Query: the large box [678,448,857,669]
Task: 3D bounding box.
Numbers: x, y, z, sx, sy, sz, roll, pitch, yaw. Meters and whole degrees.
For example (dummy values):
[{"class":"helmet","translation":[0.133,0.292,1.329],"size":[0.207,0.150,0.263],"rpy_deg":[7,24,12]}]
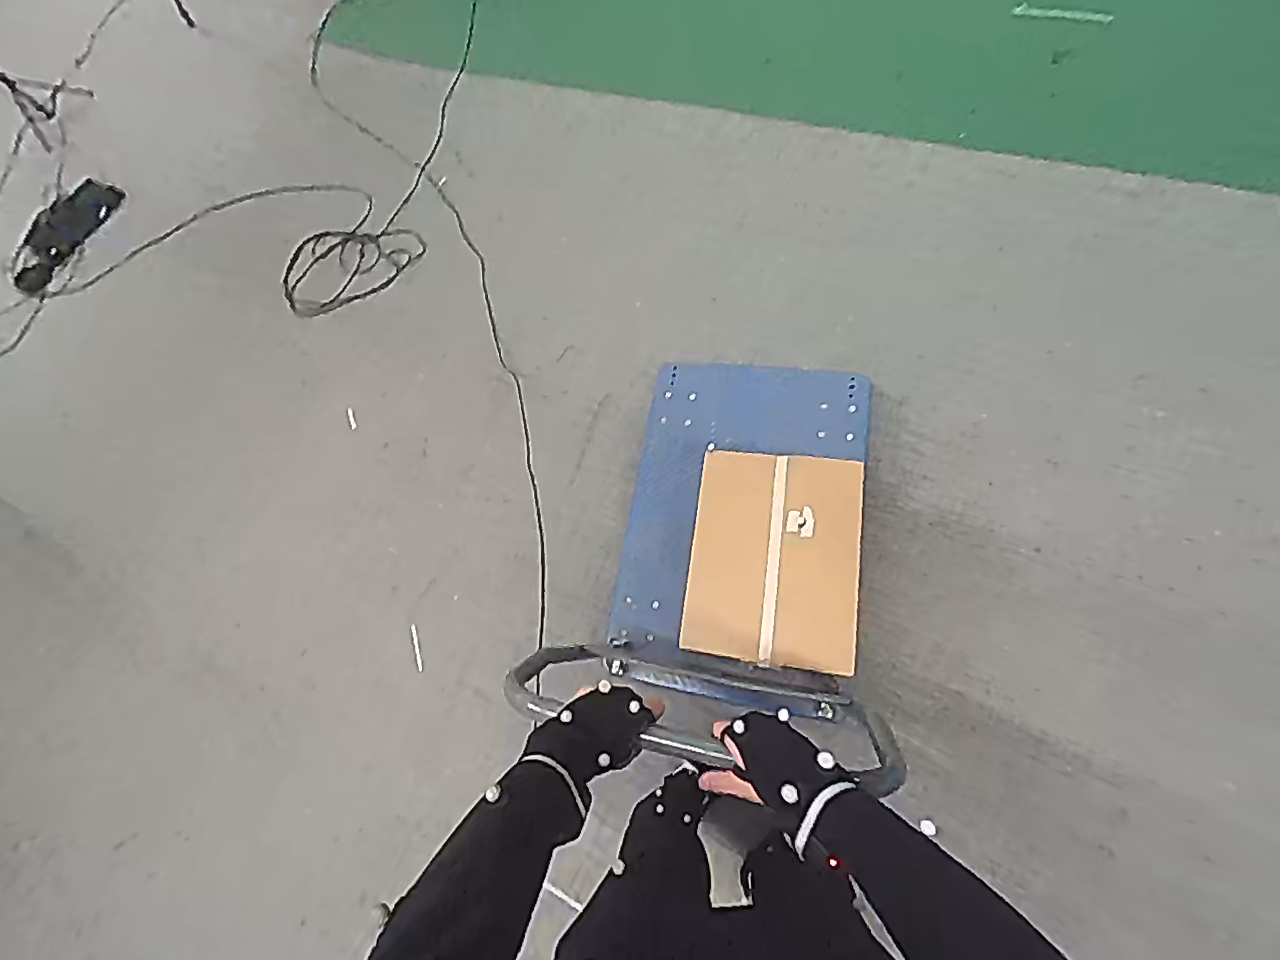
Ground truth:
[{"class":"large box","translation":[0.277,0.181,1.171],"size":[0.320,0.320,0.408],"rpy_deg":[6,72,13]}]
